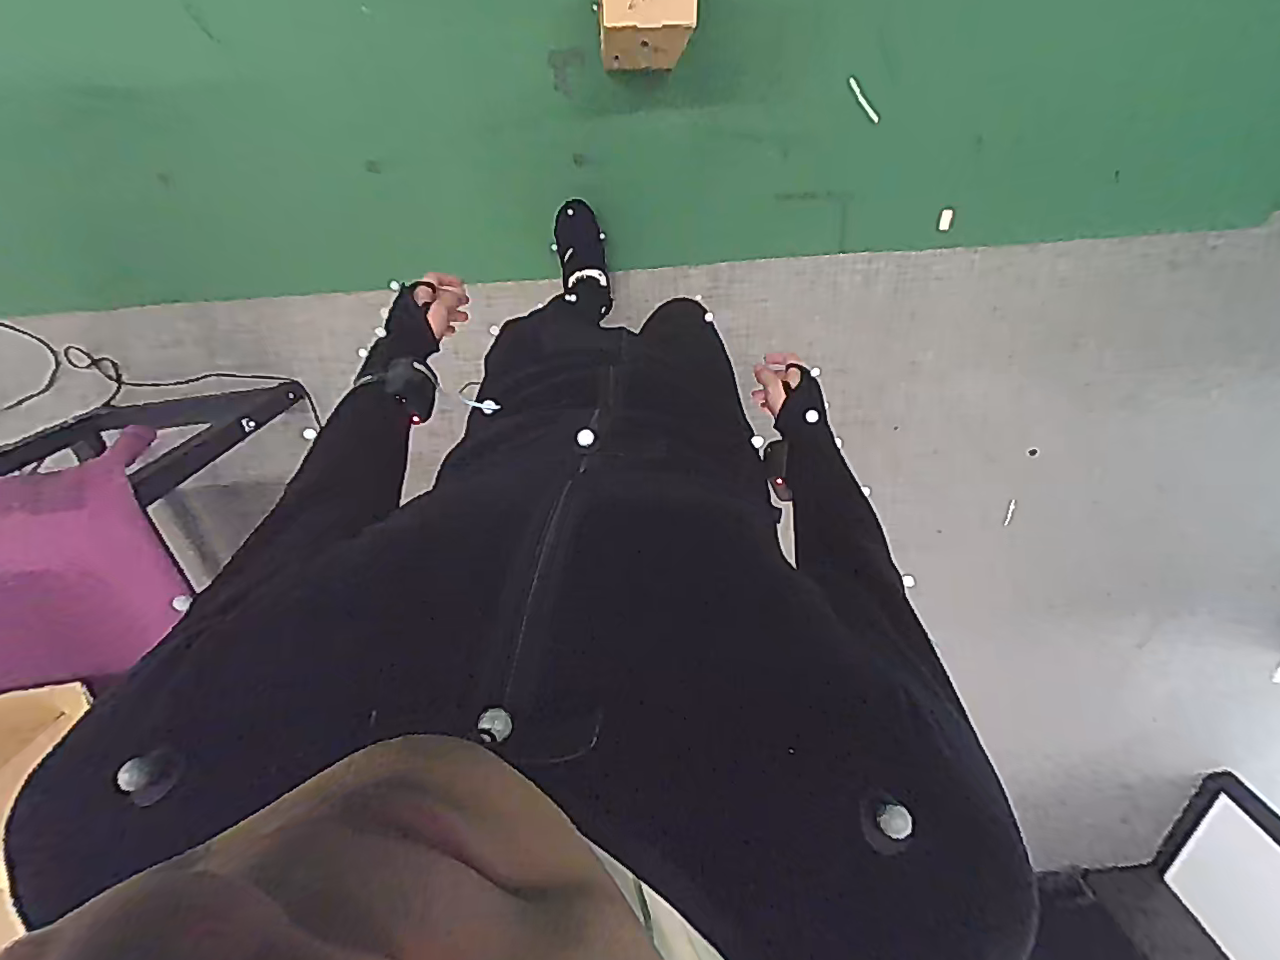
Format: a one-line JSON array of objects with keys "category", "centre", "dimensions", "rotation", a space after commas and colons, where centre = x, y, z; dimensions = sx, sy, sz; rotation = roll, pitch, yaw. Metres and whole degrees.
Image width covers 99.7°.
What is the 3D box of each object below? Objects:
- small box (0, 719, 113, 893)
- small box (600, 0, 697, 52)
[{"category": "small box", "centre": [-0.983, 0.493, 0.817], "dimensions": [0.179, 0.176, 0.168], "rotation": [-8, 115, -1]}, {"category": "small box", "centre": [0.010, -0.903, 0.976], "dimensions": [0.168, 0.176, 0.179], "rotation": [-3, 118, -2]}]
